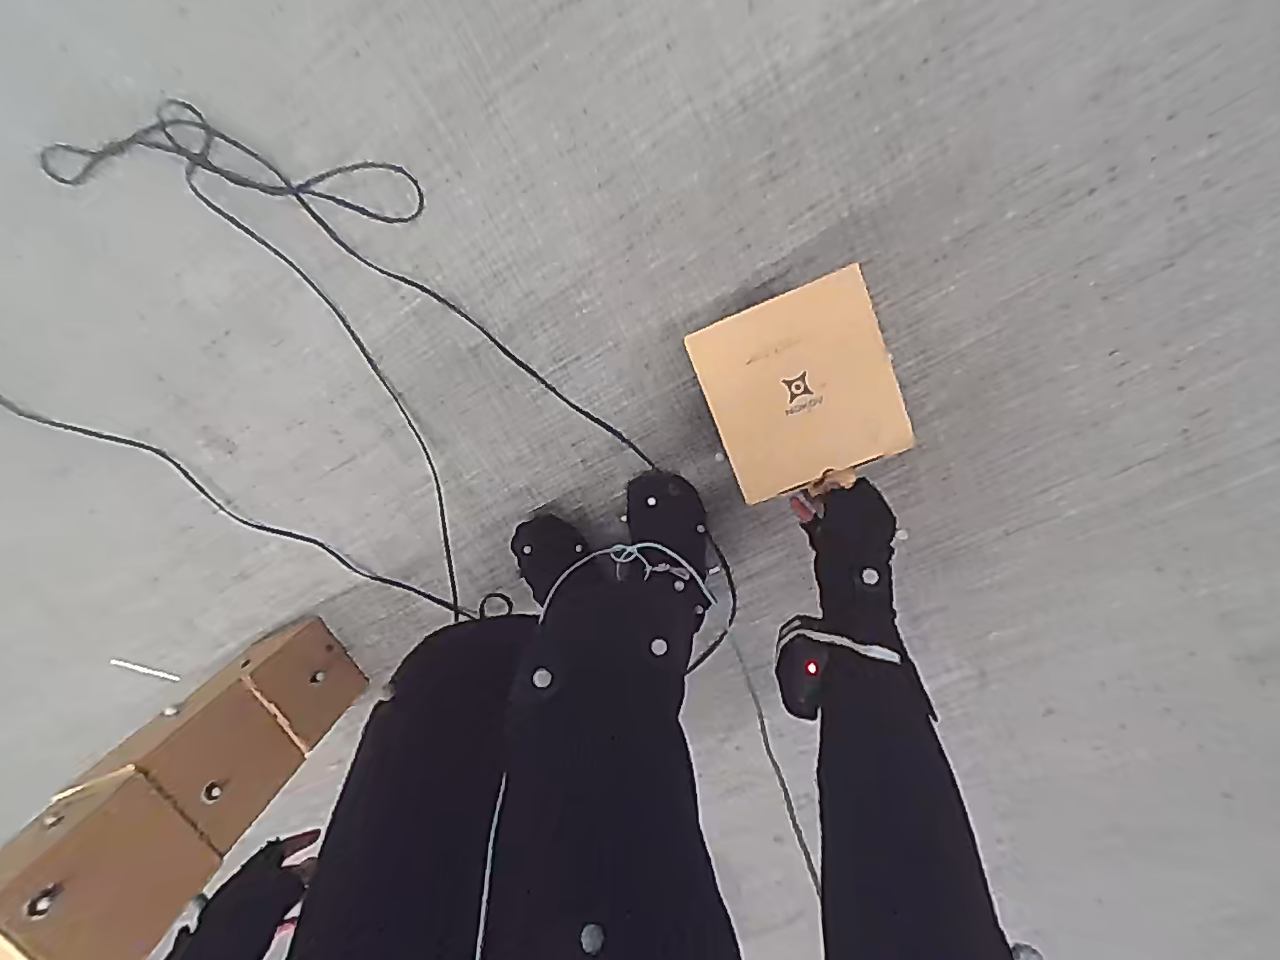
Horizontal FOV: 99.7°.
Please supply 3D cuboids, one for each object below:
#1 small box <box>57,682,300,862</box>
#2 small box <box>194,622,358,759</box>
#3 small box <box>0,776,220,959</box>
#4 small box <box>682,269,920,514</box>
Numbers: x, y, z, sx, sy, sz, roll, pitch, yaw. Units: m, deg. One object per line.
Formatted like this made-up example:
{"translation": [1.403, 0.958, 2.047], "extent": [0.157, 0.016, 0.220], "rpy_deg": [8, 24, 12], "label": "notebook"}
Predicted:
{"translation": [-0.651, 0.434, 0.789], "extent": [0.168, 0.176, 0.179], "rpy_deg": [-24, 104, 13], "label": "small box"}
{"translation": [-0.630, 0.378, 0.943], "extent": [0.179, 0.176, 0.168], "rpy_deg": [-25, 105, 13], "label": "small box"}
{"translation": [-0.662, 0.494, 0.638], "extent": [0.168, 0.176, 0.179], "rpy_deg": [-24, 104, 13], "label": "small box"}
{"translation": [0.152, -0.089, 0.554], "extent": [0.168, 0.176, 0.179], "rpy_deg": [-21, 98, 10], "label": "small box"}
